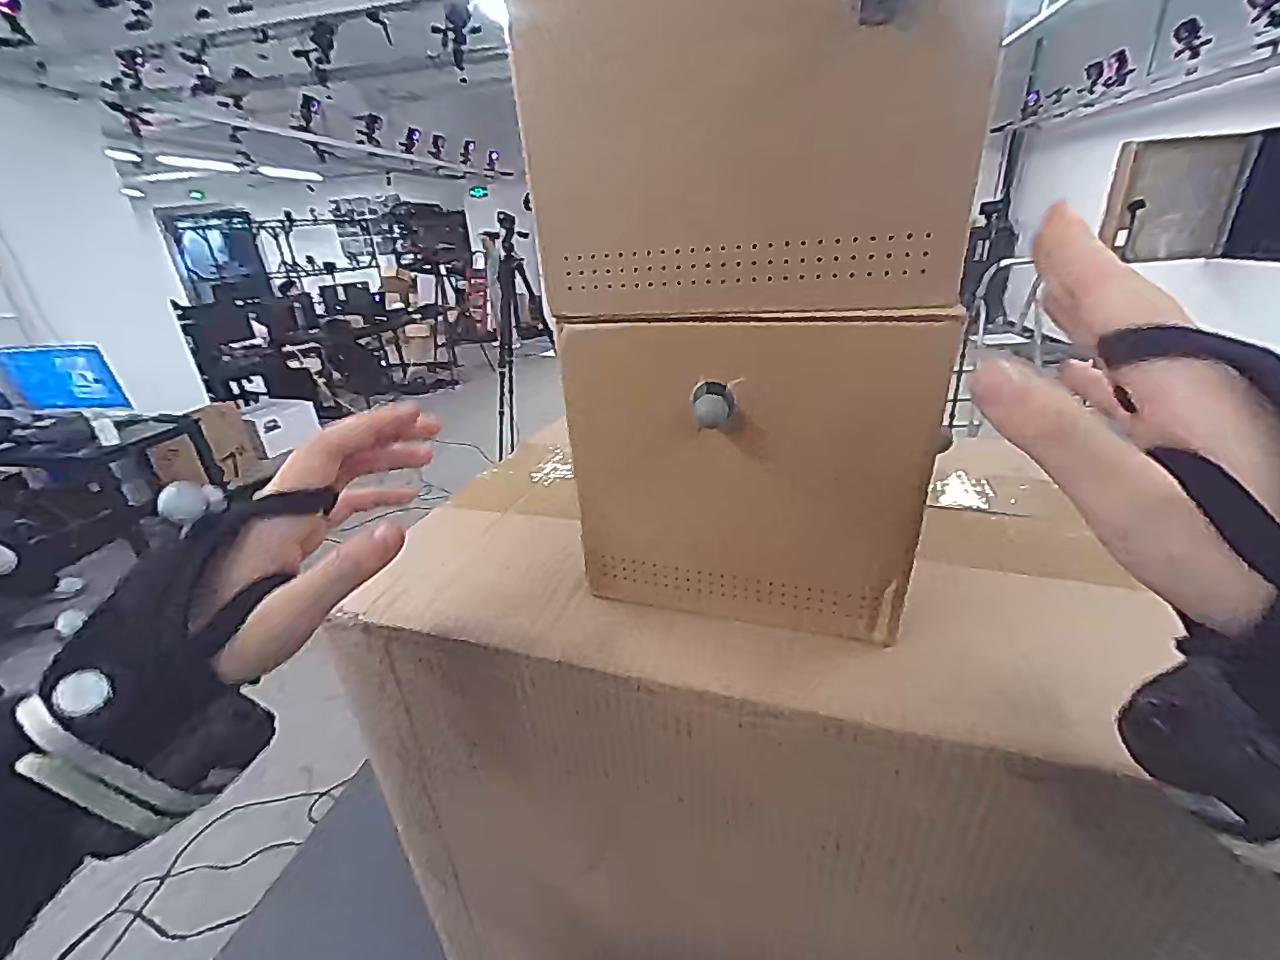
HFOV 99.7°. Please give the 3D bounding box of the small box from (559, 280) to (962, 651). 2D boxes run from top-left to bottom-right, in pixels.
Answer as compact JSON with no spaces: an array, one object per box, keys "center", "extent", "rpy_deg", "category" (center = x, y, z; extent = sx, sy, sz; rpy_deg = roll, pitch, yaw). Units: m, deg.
[{"center":[0.074,-0.020,0.335],"extent":[0.179,0.176,0.168],"rpy_deg":[5,28,19],"category":"small box"}]
